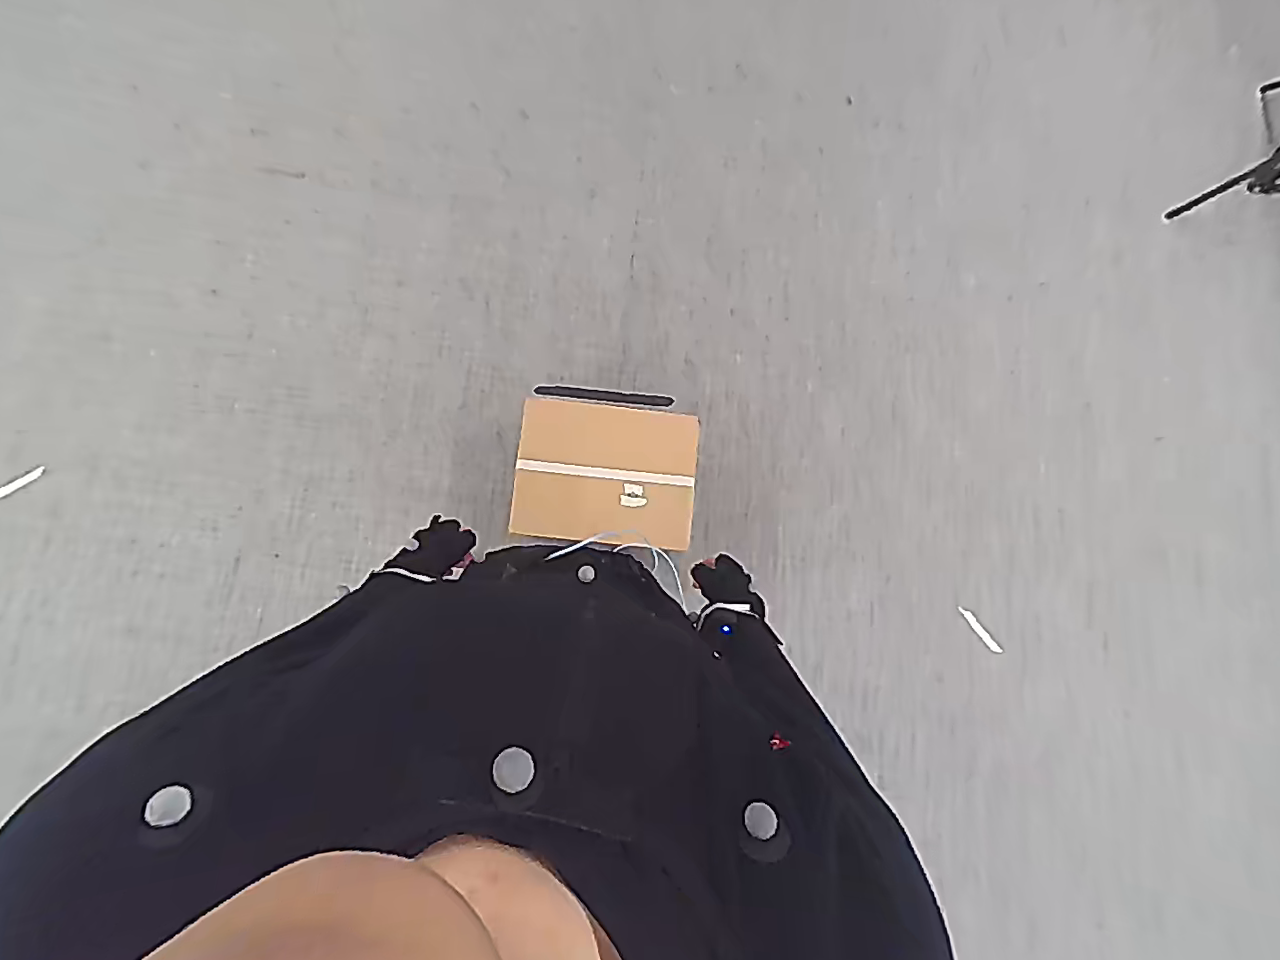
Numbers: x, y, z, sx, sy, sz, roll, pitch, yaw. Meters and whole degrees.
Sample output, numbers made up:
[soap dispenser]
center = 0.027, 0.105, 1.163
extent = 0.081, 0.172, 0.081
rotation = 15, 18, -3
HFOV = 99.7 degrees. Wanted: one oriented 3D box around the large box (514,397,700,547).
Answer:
[large box]
center = -0.083, -0.002, 1.377
extent = 0.408, 0.320, 0.320
rotation = 7, 83, -3
